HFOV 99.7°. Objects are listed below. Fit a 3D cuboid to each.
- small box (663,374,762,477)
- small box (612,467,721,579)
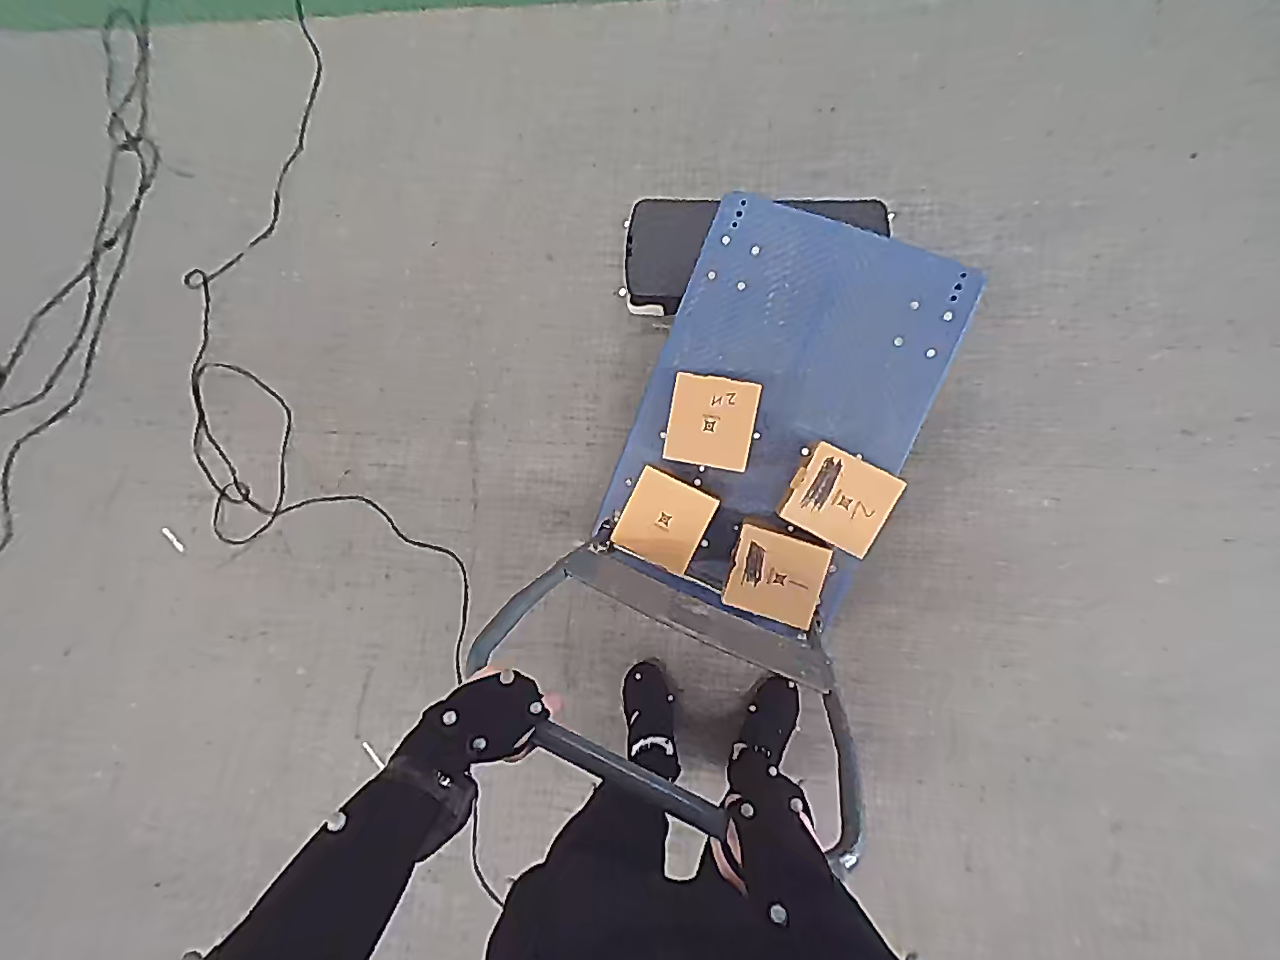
[{"bbox_3d":[0.154,-0.111,1.129,0.168,0.176,0.179,12,95,9],"label":"small box"},{"bbox_3d":[0.063,0.082,1.158,0.168,0.176,0.179,27,98,8],"label":"small box"}]
